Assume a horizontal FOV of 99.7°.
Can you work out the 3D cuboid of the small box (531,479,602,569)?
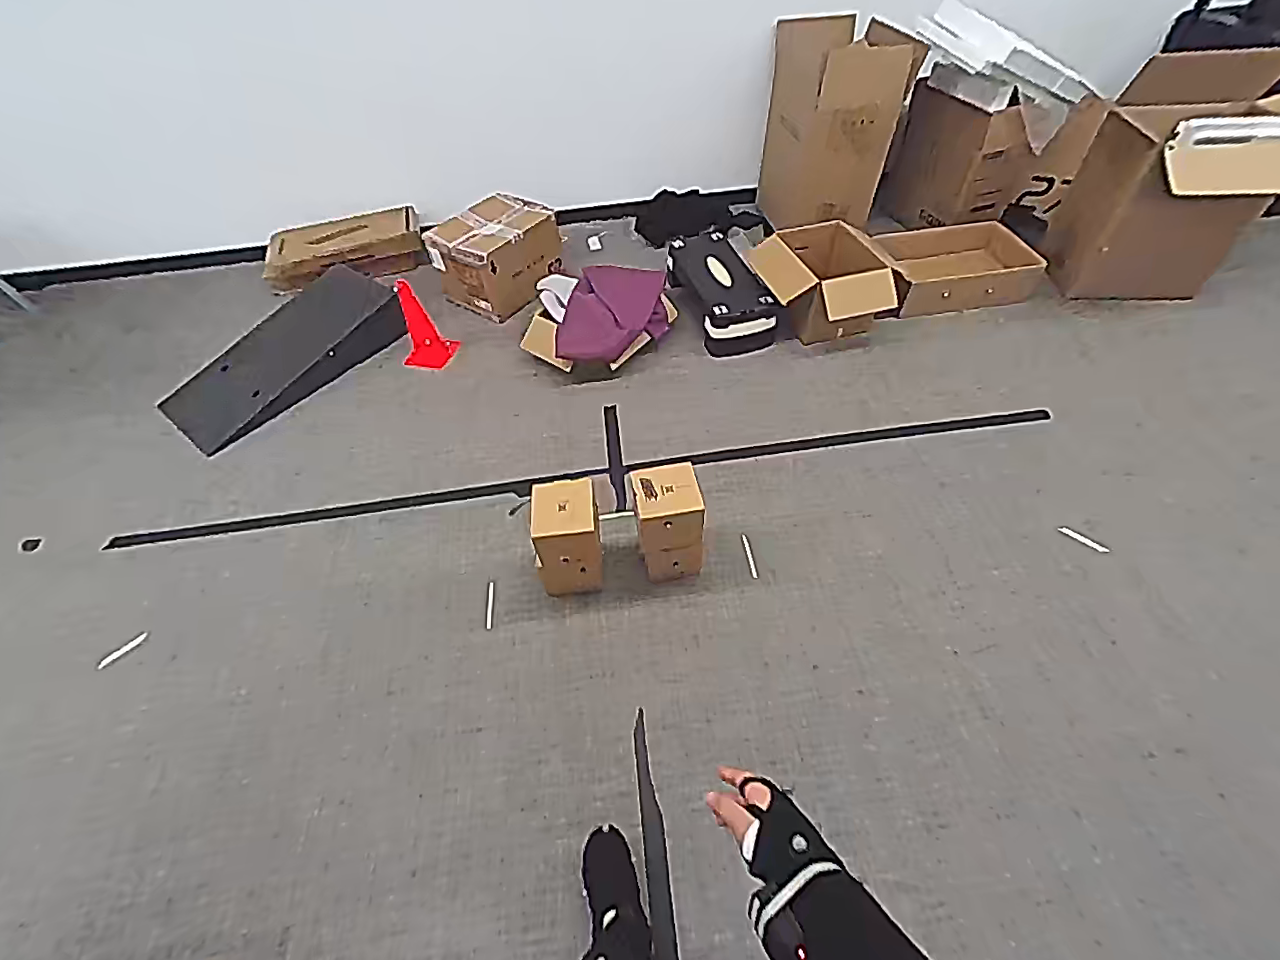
[{"bbox_3d":[-0.198,0.122,1.480,0.168,0.176,0.179,-7,52,-1],"label":"small box"}]

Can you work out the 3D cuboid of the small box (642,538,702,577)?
[{"bbox_3d":[0.088,0.178,1.628,0.168,0.176,0.179,-10,52,-4],"label":"small box"}]

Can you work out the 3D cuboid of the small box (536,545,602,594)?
[{"bbox_3d":[-0.206,0.223,1.608,0.179,0.176,0.168,-7,51,-1],"label":"small box"}]

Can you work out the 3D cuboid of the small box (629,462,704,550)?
[{"bbox_3d":[0.073,0.077,1.497,0.179,0.176,0.168,-9,51,-4],"label":"small box"}]
